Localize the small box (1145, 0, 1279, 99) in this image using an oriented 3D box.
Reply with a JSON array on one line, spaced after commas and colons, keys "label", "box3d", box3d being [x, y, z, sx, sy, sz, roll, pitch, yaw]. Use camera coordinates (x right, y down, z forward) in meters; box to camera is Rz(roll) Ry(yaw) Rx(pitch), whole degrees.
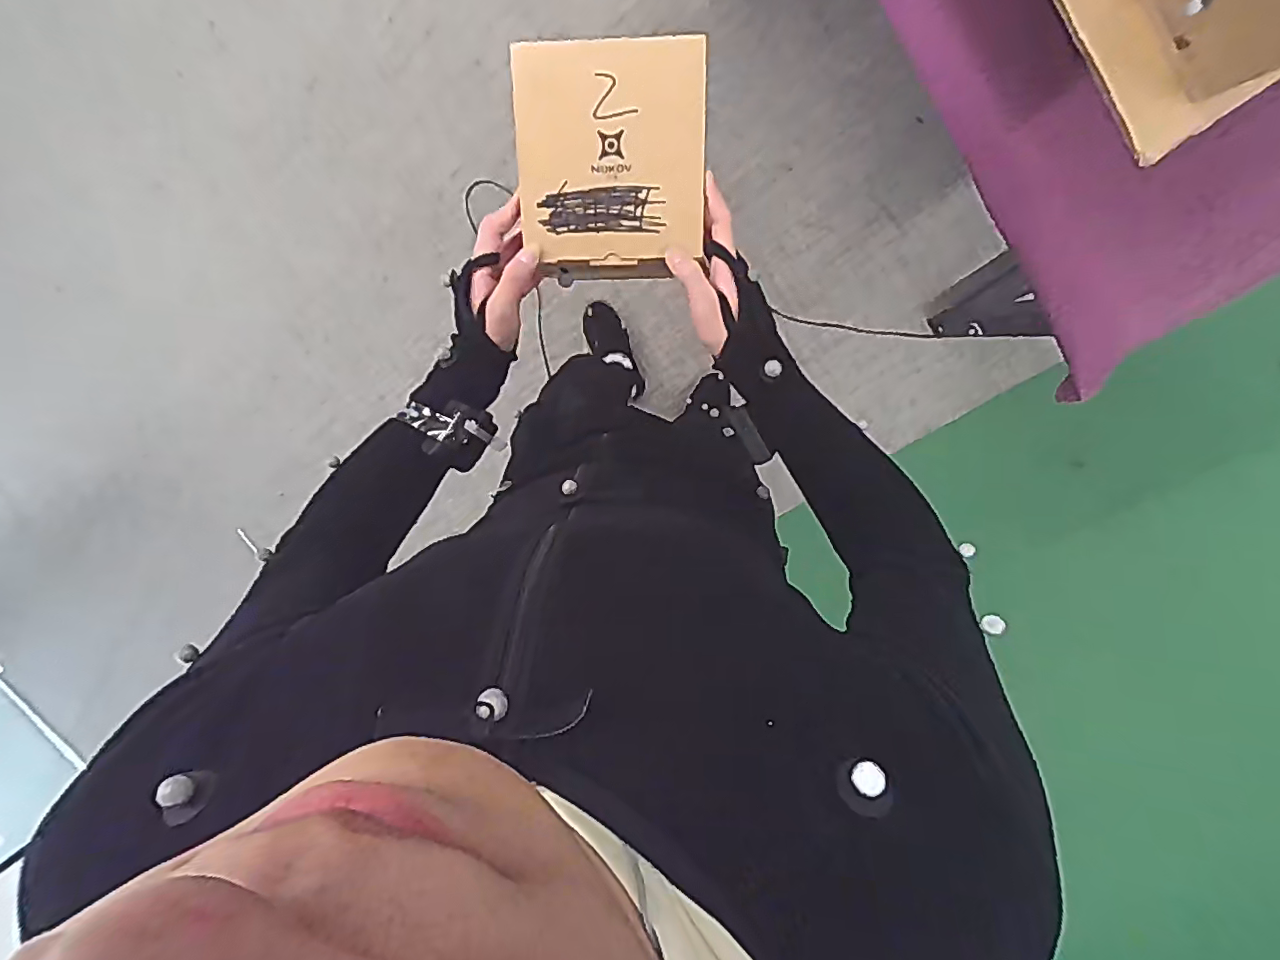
[{"label": "small box", "box3d": [0.562, -0.457, 0.424, 0.179, 0.176, 0.168, -35, 100, 16]}]
